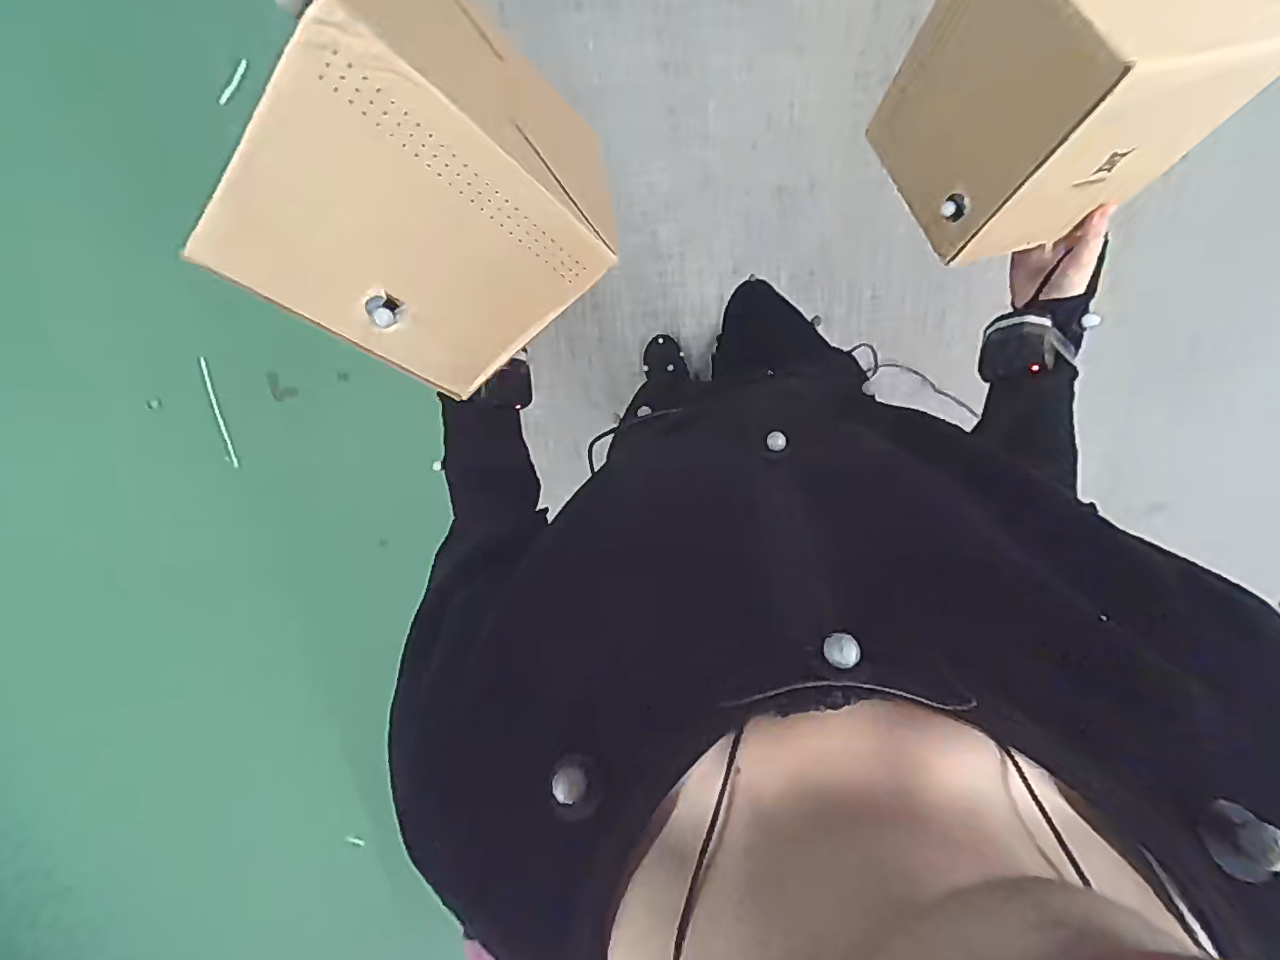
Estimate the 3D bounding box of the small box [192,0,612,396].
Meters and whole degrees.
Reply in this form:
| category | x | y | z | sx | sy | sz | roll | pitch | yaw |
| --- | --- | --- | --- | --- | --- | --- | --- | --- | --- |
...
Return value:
| category | x | y | z | sx | sy | sz | roll | pitch | yaw |
| --- | --- | --- | --- | --- | --- | --- | --- | --- | --- |
| small box | -0.135 | -0.193 | 0.352 | 0.176 | 0.168 | 0.179 | -30 | 140 | 30 |

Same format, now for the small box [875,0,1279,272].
| category | x | y | z | sx | sy | sz | roll | pitch | yaw |
| --- | --- | --- | --- | --- | --- | --- | --- | --- | --- |
| small box | 0.324 | -0.306 | 0.434 | 0.168 | 0.179 | 0.176 | -15 | 74 | -11 |
